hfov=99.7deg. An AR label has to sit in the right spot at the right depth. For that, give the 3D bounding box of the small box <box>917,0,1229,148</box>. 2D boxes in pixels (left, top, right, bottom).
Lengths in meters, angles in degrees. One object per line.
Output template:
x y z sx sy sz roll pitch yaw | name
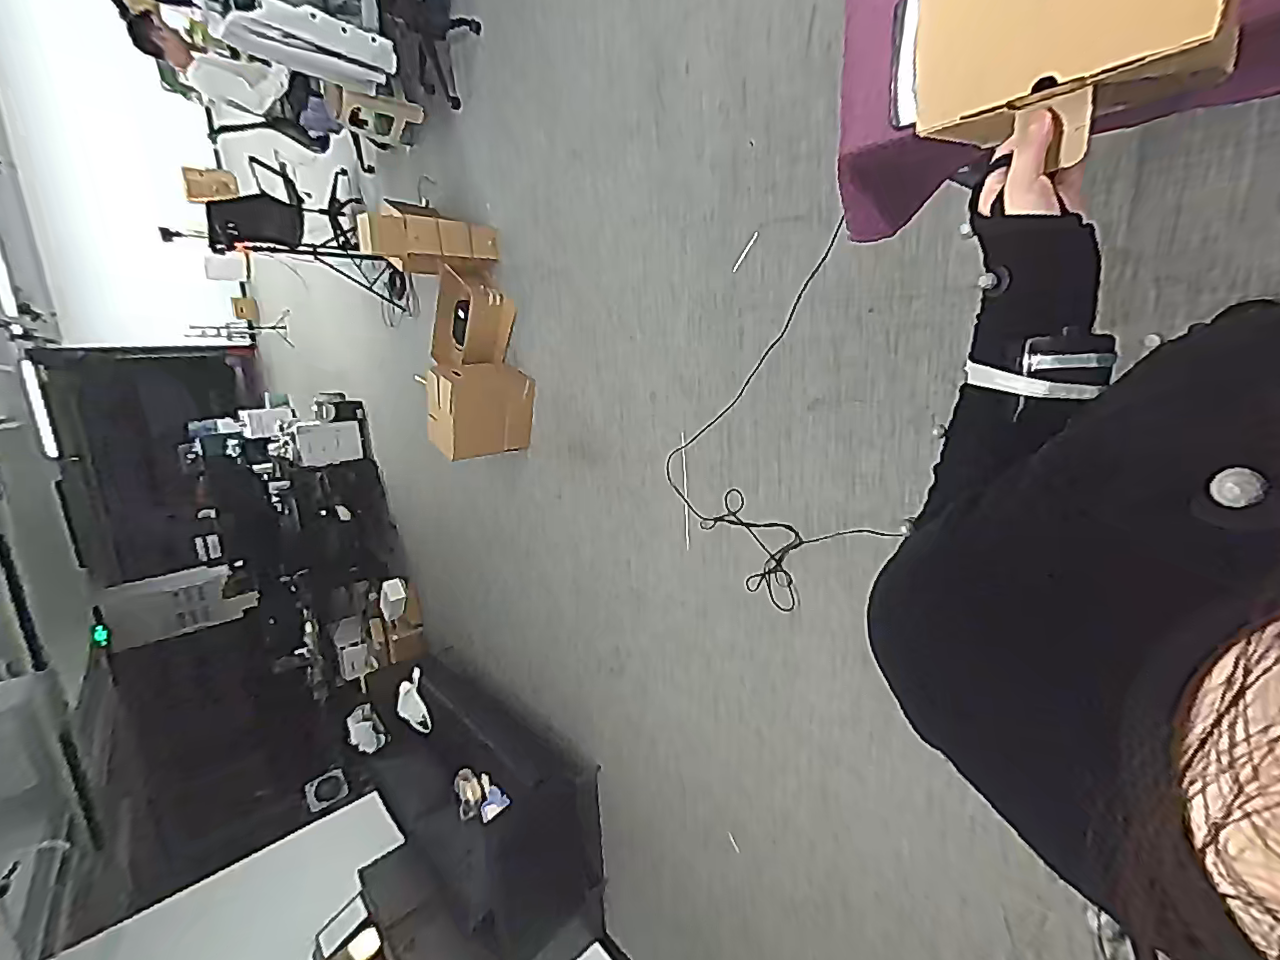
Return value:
0.324 -0.371 0.402 0.168 0.176 0.179 10 117 46 | small box
